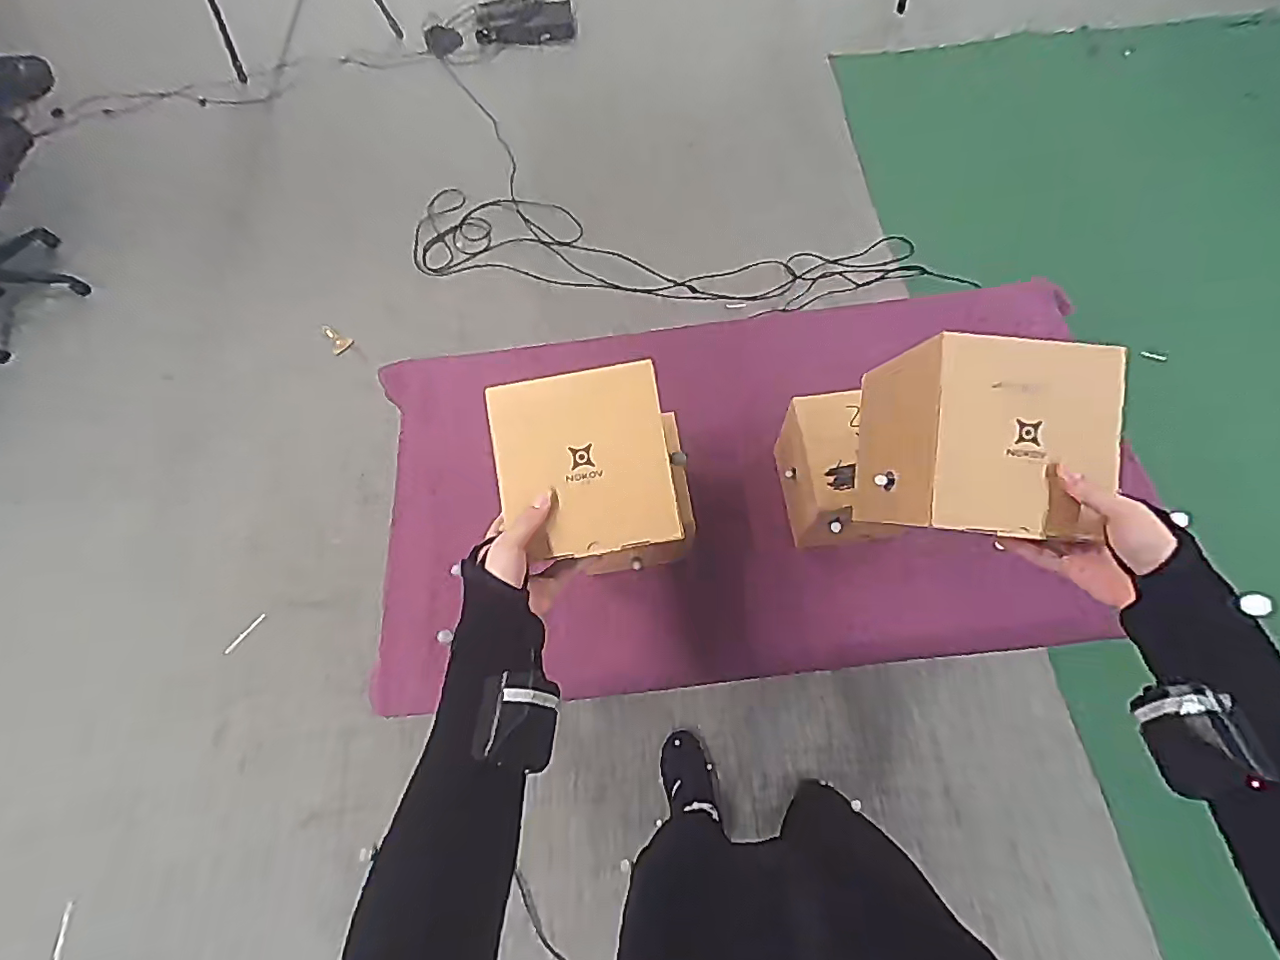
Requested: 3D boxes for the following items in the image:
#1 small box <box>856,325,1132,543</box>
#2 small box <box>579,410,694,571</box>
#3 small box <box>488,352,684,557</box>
[{"bbox_3d":[0.333,-0.037,0.544,0.168,0.176,0.179,6,87,-1],"label":"small box"},{"bbox_3d":[-0.017,0.021,0.794,0.168,0.176,0.179,-8,66,0],"label":"small box"},{"bbox_3d":[-0.051,-0.018,0.584,0.168,0.176,0.179,-9,86,1],"label":"small box"}]
